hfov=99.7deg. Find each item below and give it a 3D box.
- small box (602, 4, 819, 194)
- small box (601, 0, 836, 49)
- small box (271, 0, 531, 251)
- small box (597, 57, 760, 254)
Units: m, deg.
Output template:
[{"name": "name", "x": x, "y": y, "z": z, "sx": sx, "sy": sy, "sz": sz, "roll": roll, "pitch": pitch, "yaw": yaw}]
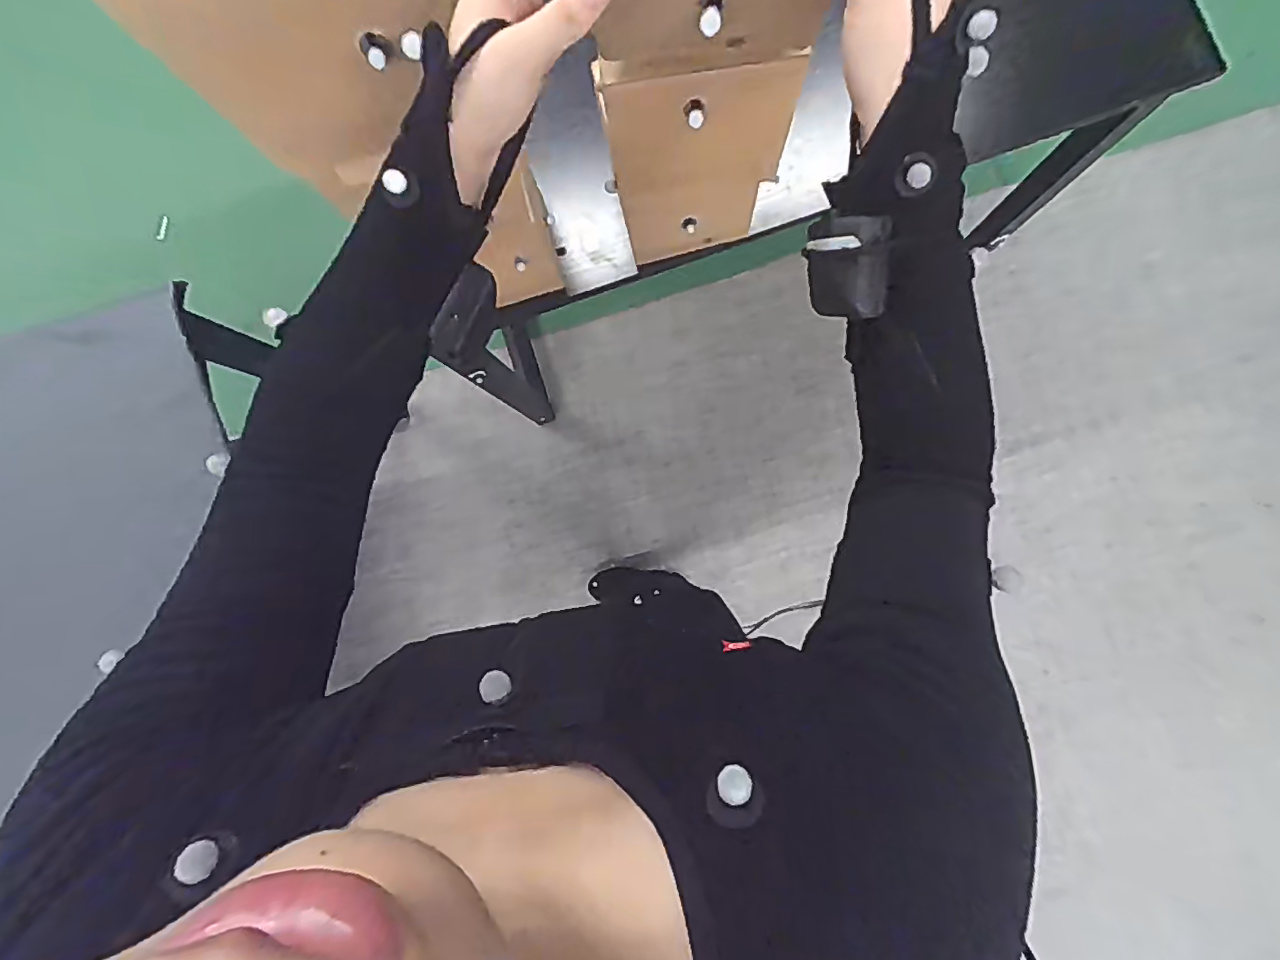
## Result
[{"name": "small box", "x": 0.058, "y": -0.410, "z": 0.527, "sx": 0.179, "sy": 0.176, "sz": 0.168, "roll": -6, "pitch": 87, "yaw": 4}, {"name": "small box", "x": 0.051, "y": -0.393, "z": 0.323, "sx": 0.168, "sy": 0.176, "sz": 0.179, "roll": -1, "pitch": 108, "yaw": 5}, {"name": "small box", "x": -0.221, "y": -0.355, "z": 0.543, "sx": 0.168, "sy": 0.176, "sz": 0.179, "roll": -14, "pitch": 84, "yaw": 2}, {"name": "small box", "x": 0.053, "y": -0.414, "z": 0.691, "sx": 0.168, "sy": 0.176, "sz": 0.179, "roll": -14, "pitch": 85, "yaw": 3}]
